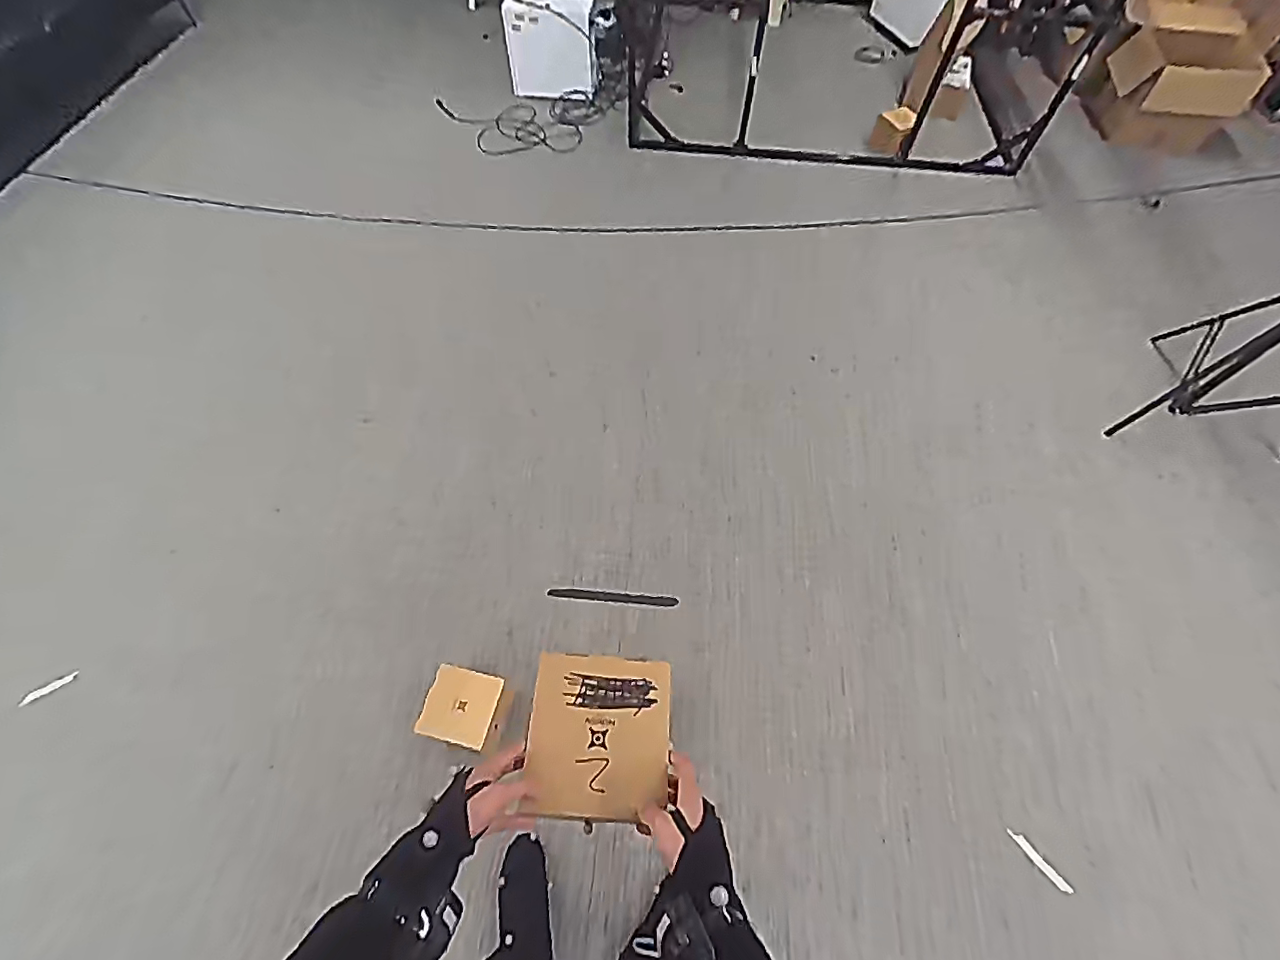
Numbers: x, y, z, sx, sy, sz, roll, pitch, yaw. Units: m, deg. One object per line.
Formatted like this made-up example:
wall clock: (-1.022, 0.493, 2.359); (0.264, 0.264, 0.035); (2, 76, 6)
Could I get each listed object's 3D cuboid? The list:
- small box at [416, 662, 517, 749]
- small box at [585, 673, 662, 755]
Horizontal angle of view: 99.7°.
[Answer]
small box: (-0.435, 0.587, 1.395); (0.179, 0.176, 0.168); (12, 61, 7)
small box: (-0.039, 0.606, 1.390); (0.179, 0.176, 0.168); (5, 60, 1)
